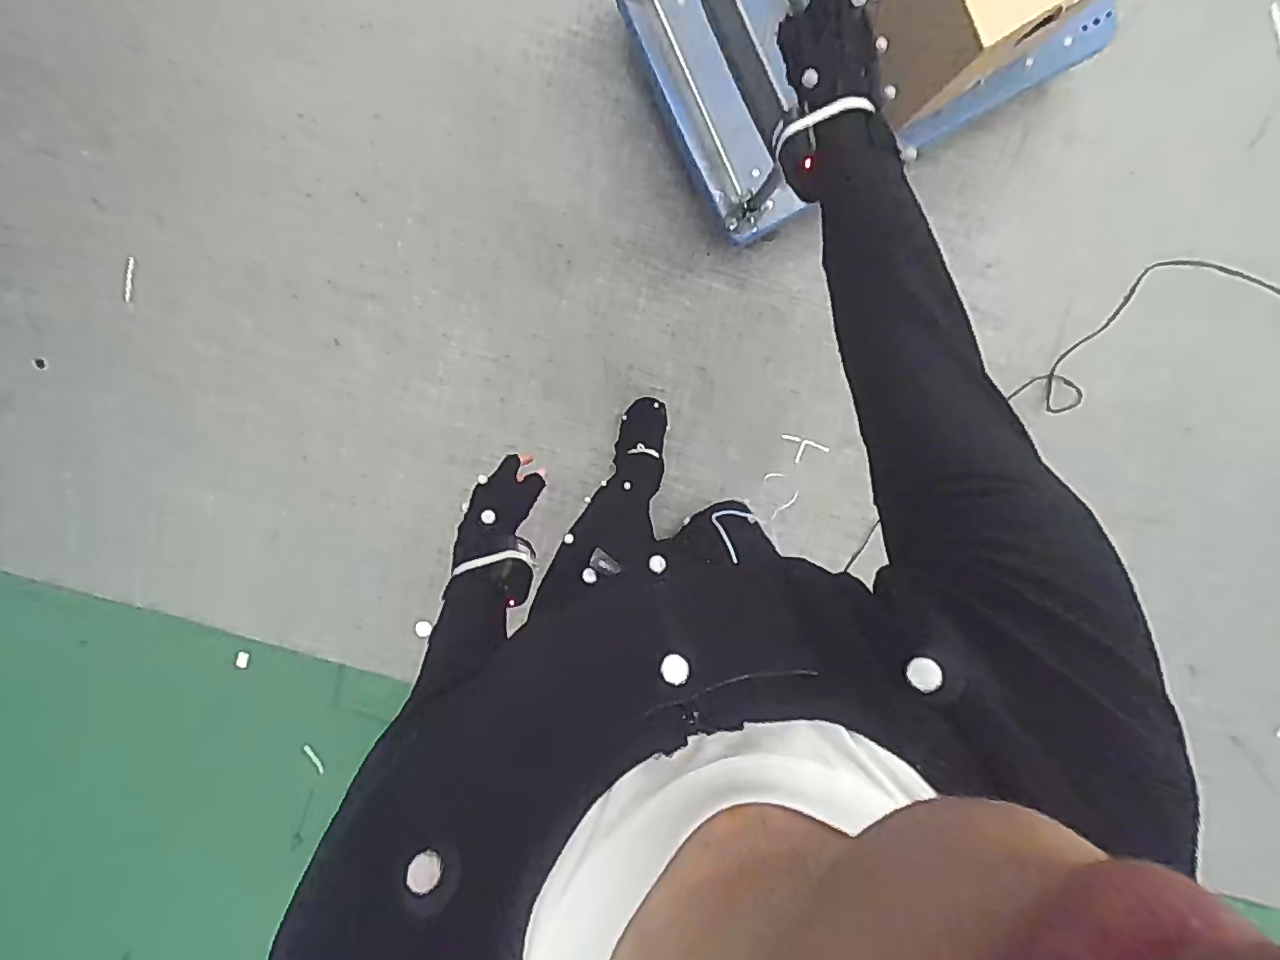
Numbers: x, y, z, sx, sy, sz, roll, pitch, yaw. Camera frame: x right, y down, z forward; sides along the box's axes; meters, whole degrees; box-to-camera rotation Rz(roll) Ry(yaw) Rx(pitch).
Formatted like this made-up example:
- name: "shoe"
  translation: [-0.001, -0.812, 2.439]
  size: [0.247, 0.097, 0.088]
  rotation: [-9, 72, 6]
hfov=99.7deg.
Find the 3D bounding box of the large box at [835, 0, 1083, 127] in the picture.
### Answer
- name: "large box"
  translation: [0.554, -0.935, 0.925]
  size: [0.320, 0.320, 0.408]
  rotation: [-29, 100, 5]
